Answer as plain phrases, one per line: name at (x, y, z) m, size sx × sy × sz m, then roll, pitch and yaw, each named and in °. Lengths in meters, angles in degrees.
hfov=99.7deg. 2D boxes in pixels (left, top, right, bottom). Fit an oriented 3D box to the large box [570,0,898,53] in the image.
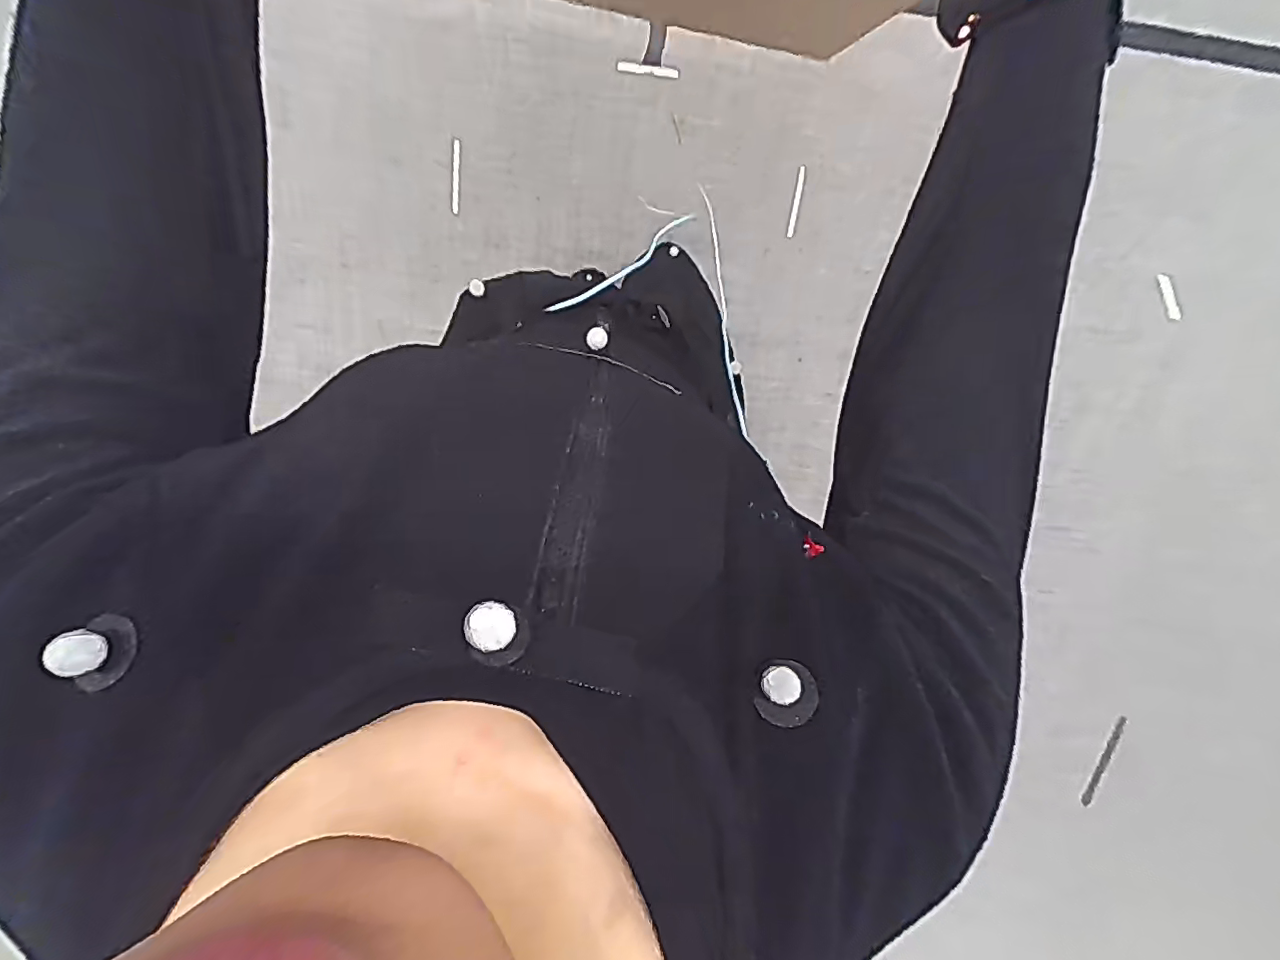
large box at (0.040, -0.559, 0.379) m, size 0.408 × 0.320 × 0.320 m, roll 9°, pitch 118°, yaw -5°
